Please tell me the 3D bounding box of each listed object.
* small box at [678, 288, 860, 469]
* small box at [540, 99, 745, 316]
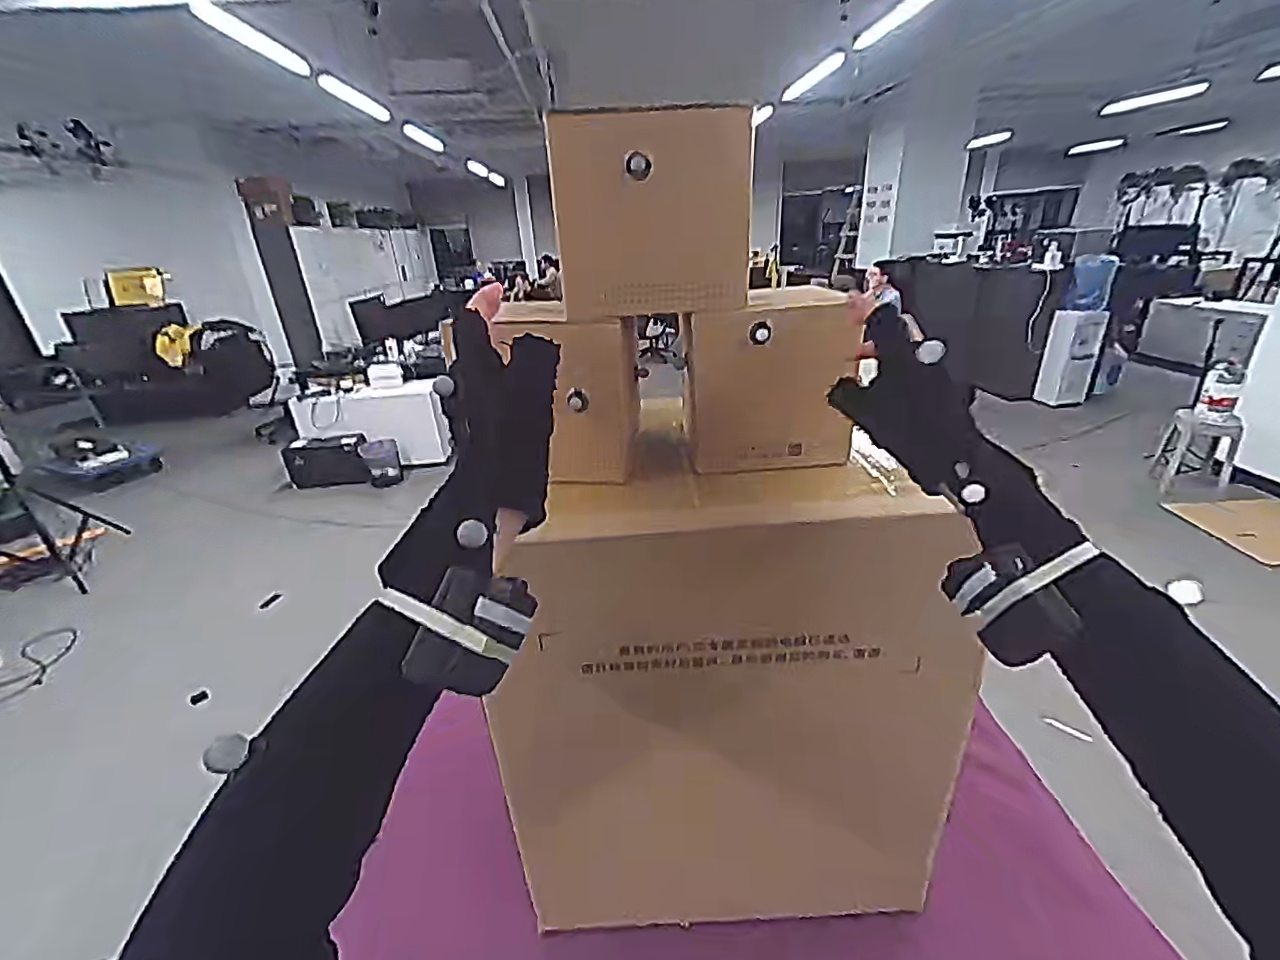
[{"bbox_3d":[0.131,-0.121,0.617,0.168,0.176,0.179,-5,23,1],"label":"small box"},{"bbox_3d":[0.004,-0.264,0.552,0.179,0.176,0.168,-4,24,-2],"label":"small box"}]
